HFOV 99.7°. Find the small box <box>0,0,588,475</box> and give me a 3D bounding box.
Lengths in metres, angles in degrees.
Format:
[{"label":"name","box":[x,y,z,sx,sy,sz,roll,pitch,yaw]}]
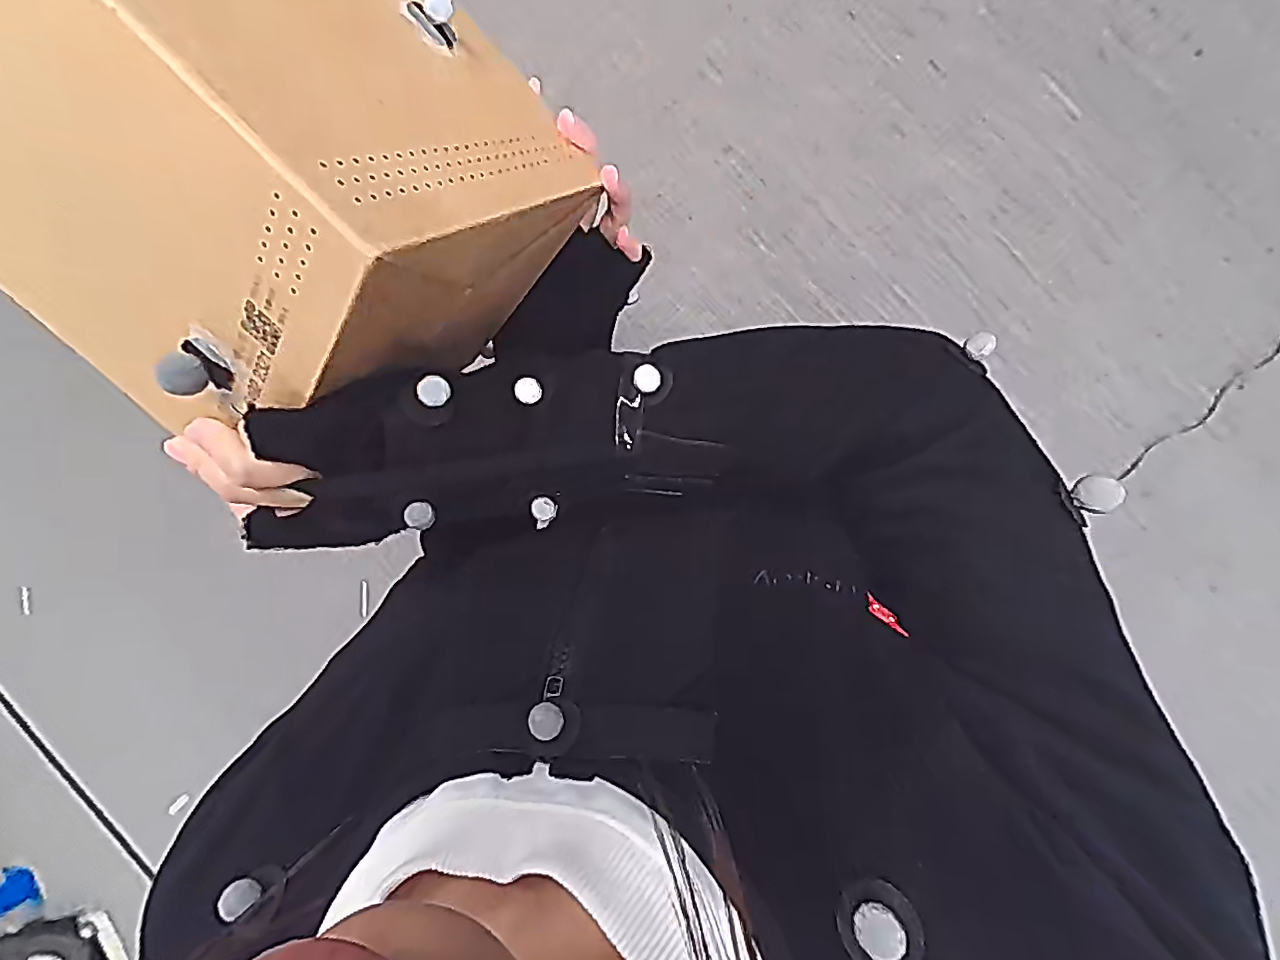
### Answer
[{"label":"small box","box":[-0.151,-0.134,0.273,0.176,0.179,0.168,45,130,-10]}]
